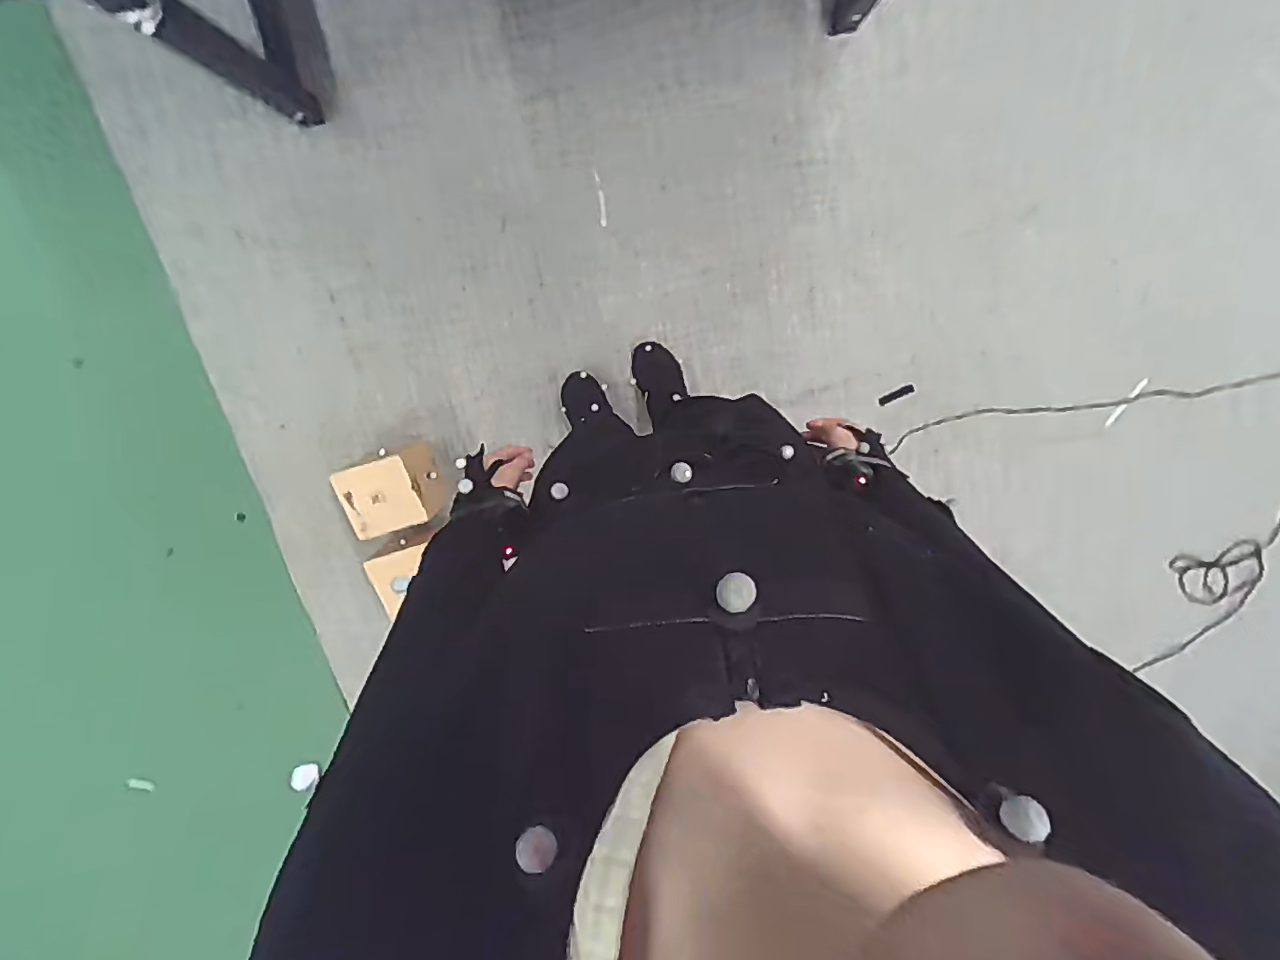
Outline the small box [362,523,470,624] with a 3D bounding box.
[{"bbox_3d":[-0.543,0.226,1.349,0.179,0.176,0.168,-18,105,4],"label":"small box"}]
